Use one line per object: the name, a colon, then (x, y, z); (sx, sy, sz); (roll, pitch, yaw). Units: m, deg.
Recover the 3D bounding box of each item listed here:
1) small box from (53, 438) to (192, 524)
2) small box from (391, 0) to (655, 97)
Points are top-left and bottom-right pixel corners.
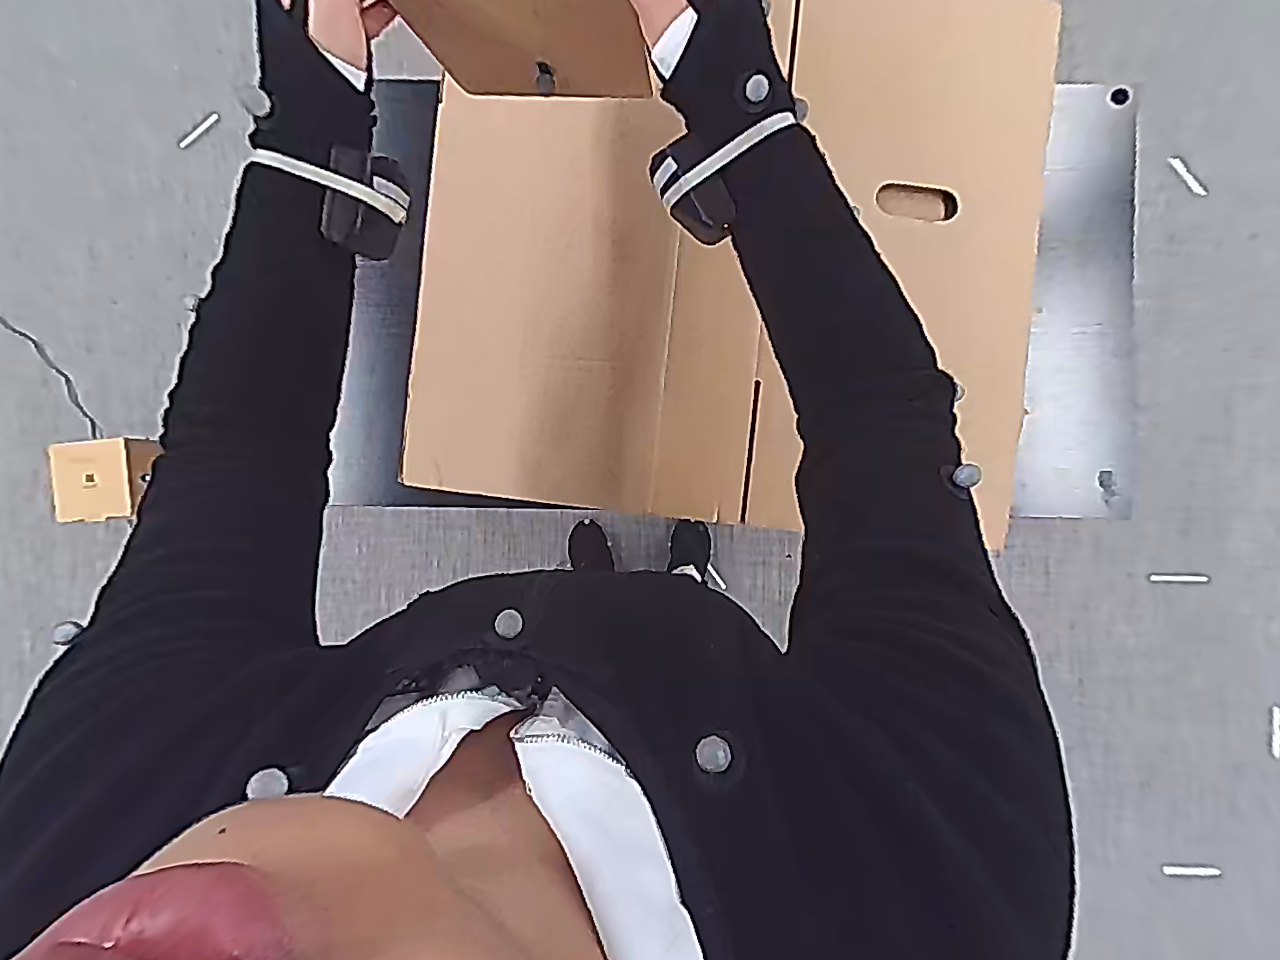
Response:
small box: (-1.191, 0.002, 1.258); (0.168, 0.176, 0.179); (-6, 89, 0)
small box: (-0.077, -0.406, 0.385); (0.179, 0.176, 0.168); (5, 99, 5)
